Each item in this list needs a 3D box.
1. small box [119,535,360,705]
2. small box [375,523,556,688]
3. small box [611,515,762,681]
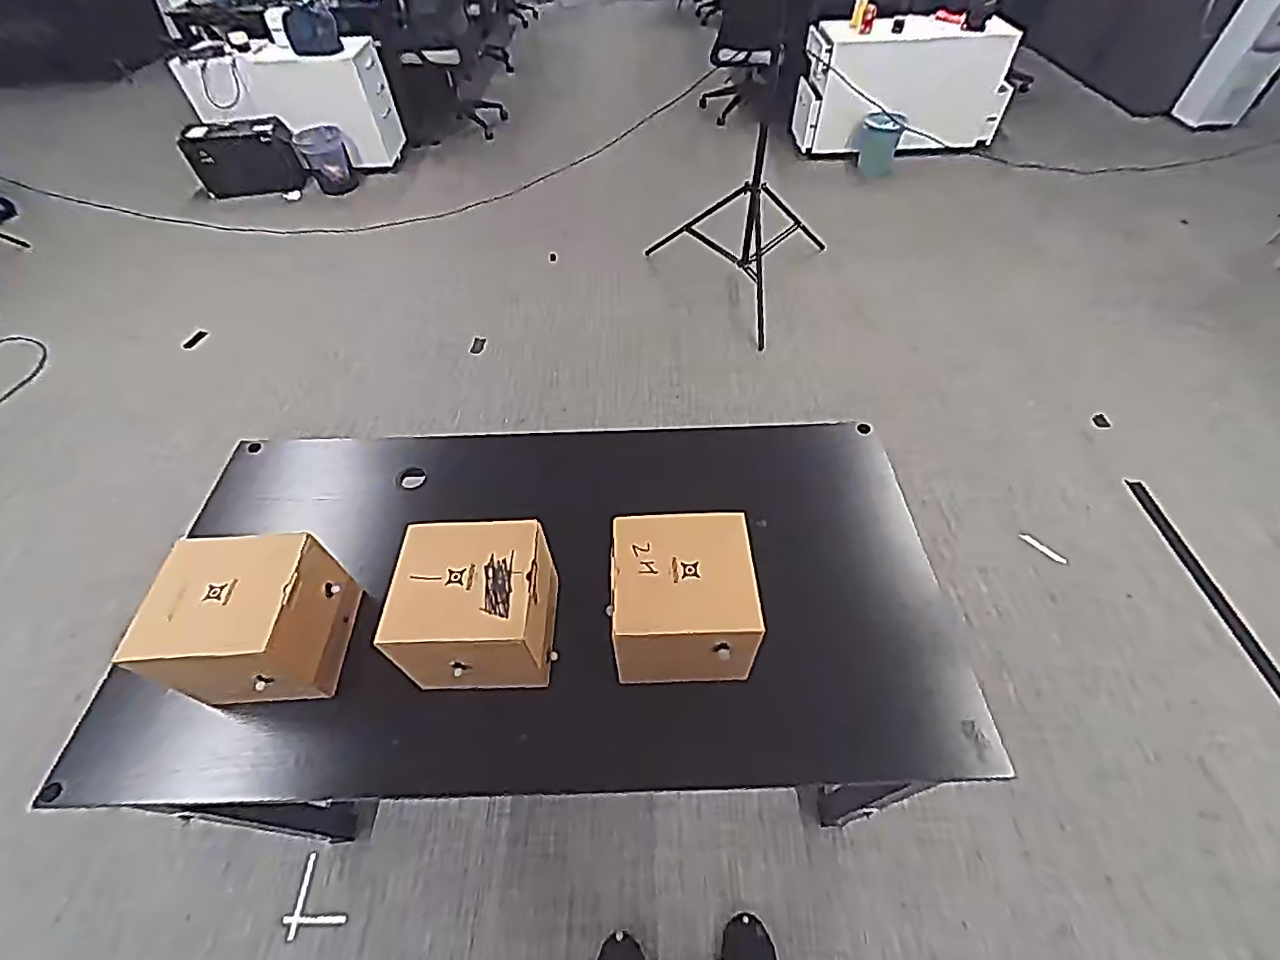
[{"bbox_3d":[-0.511,0.191,0.727,0.179,0.176,0.168,-4,51,-1],"label":"small box"},{"bbox_3d":[-0.216,0.172,0.730,0.179,0.176,0.168,-2,52,2],"label":"small box"},{"bbox_3d":[0.054,0.162,0.728,0.179,0.176,0.168,-2,51,1],"label":"small box"}]
